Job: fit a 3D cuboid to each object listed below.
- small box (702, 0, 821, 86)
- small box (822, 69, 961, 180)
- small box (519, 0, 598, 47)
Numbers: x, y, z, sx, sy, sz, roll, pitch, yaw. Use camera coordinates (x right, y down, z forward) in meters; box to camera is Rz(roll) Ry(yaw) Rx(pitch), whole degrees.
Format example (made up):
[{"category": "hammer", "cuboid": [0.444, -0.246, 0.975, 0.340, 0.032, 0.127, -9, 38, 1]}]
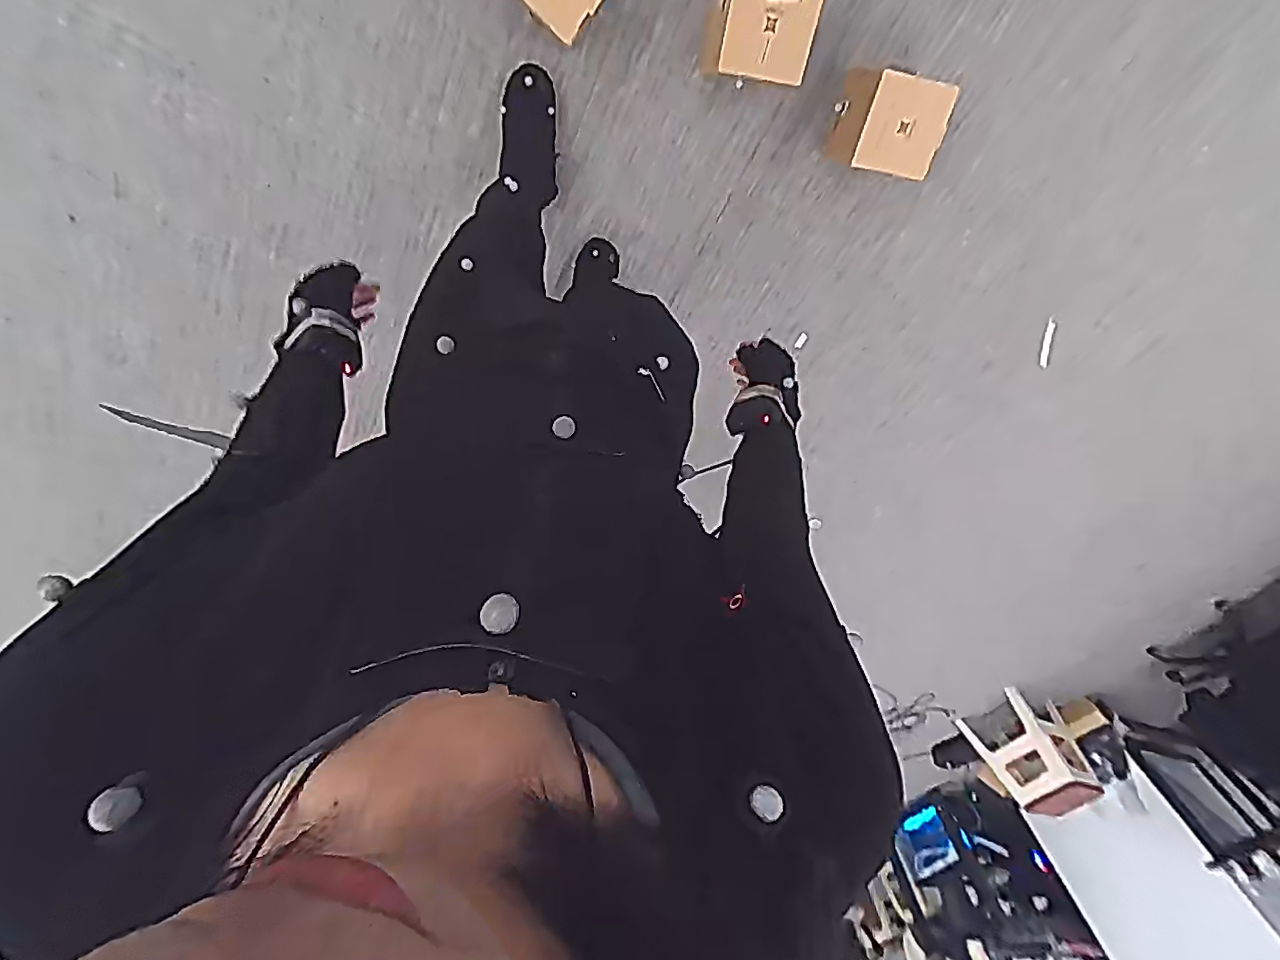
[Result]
[{"category": "small box", "cuboid": [0.223, -0.865, 1.016, 0.168, 0.176, 0.179, 4, 127, -10]}, {"category": "small box", "cuboid": [0.519, -0.753, 1.143, 0.179, 0.176, 0.168, 4, 125, -10]}, {"category": "small box", "cuboid": [-0.148, -0.903, 0.941, 0.179, 0.176, 0.168, 32, 117, -27]}]
